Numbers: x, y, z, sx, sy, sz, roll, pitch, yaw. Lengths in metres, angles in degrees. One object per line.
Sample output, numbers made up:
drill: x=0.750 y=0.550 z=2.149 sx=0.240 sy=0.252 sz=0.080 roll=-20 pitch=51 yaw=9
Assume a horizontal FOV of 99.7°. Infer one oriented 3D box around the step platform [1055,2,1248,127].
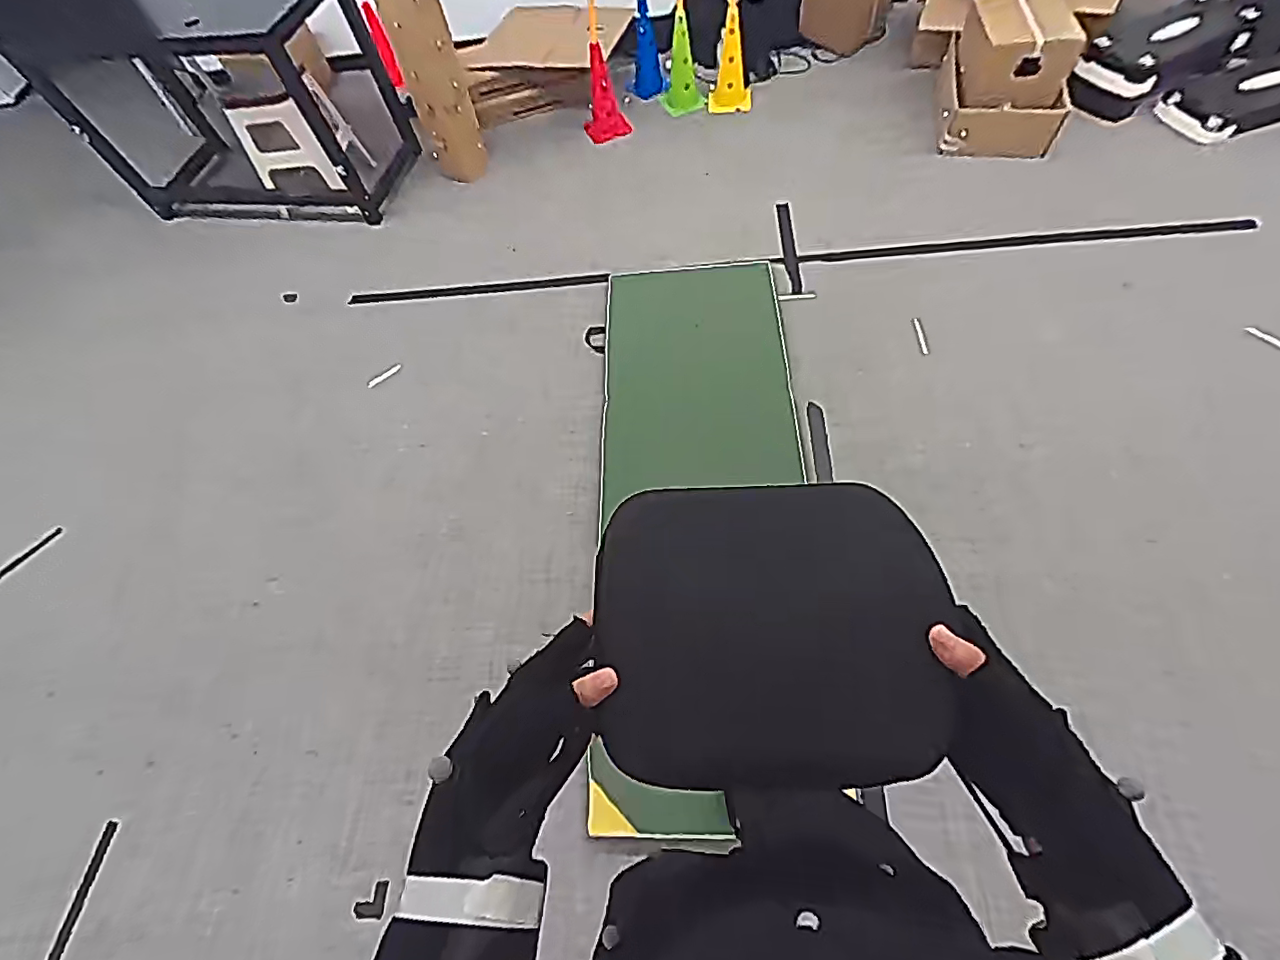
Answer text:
step platform: x=2.137 y=-1.746 z=2.266 sx=0.684 sy=0.204 sz=0.286 roll=-28 pitch=62 yaw=-8
